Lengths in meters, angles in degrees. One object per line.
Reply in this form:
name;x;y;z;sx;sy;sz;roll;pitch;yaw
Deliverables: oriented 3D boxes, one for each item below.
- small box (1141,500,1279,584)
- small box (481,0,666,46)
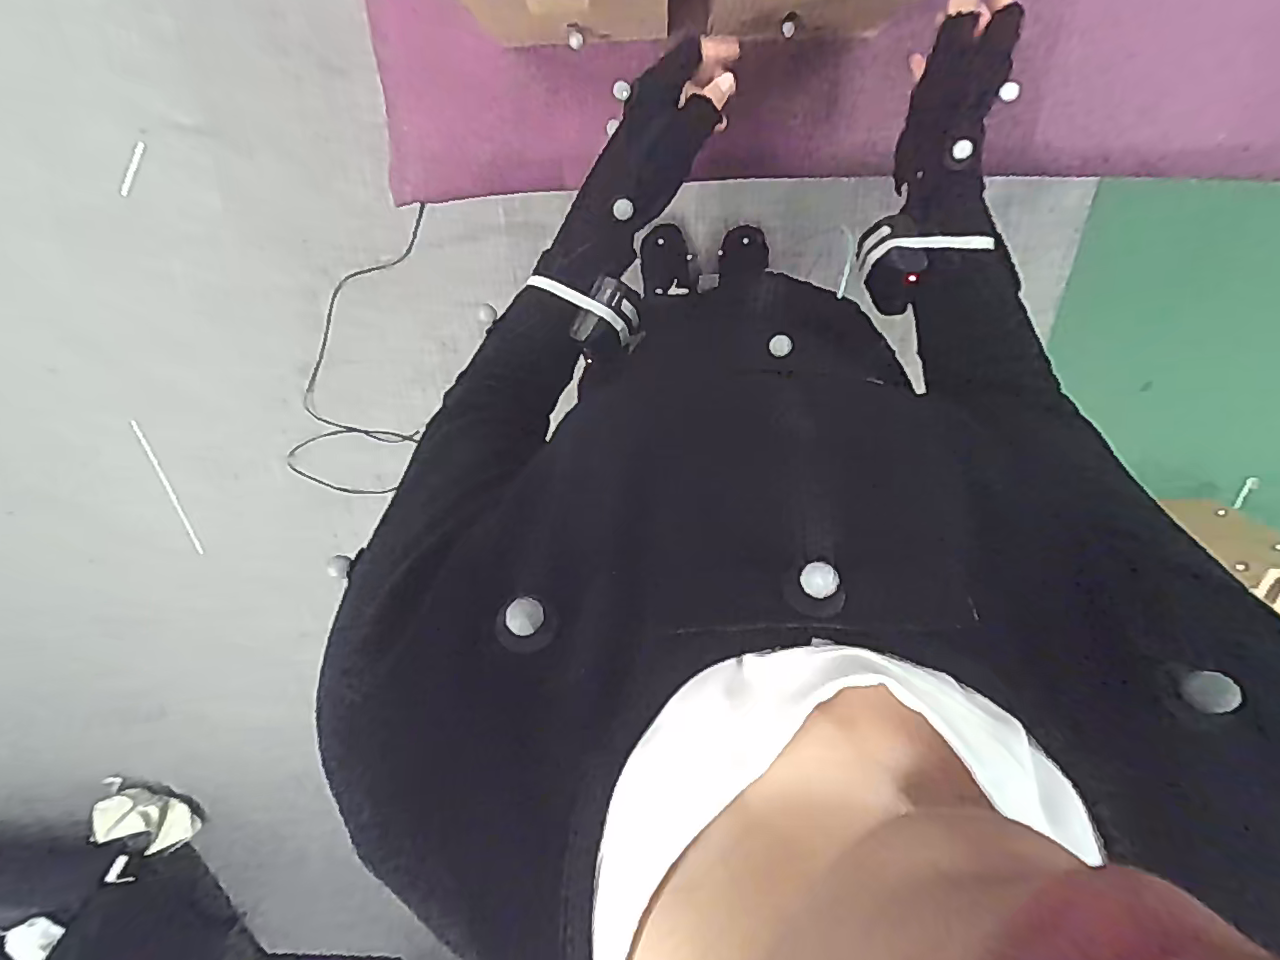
small box;1.549;0.166;1.483;0.179;0.176;0.168;0;117;3
small box;-0.062;-0.484;0.436;0.168;0.176;0.179;0;117;3
